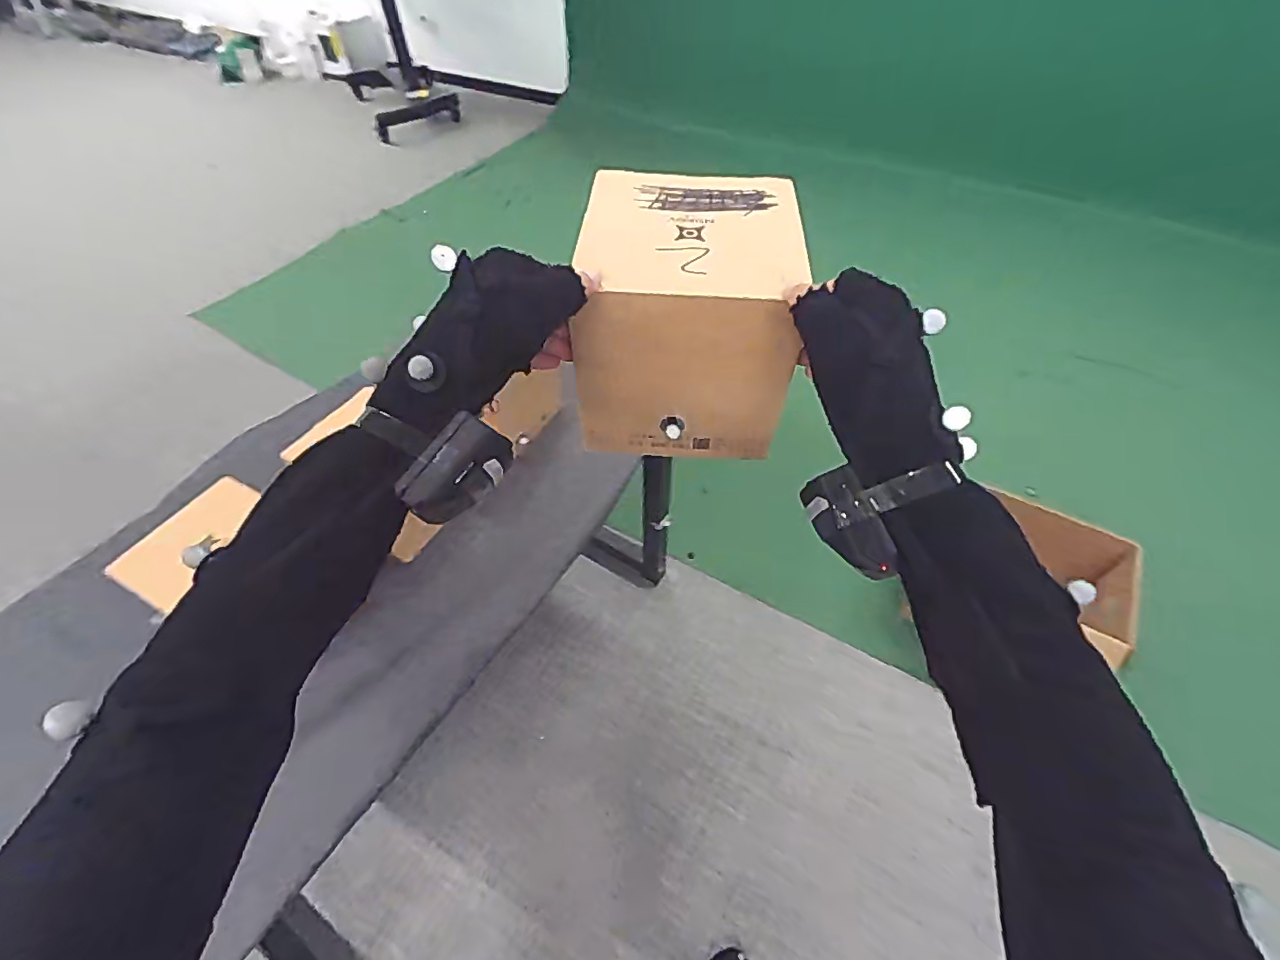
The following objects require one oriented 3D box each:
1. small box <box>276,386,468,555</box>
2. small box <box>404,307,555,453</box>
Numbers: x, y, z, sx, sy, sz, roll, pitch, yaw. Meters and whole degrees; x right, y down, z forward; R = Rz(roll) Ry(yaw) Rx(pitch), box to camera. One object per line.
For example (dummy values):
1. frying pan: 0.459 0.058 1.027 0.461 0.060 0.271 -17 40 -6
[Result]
1. small box: -0.396 -0.009 0.834 0.179 0.176 0.168 23 55 18
2. small box: -0.271 -0.171 0.960 0.179 0.176 0.168 23 55 18
